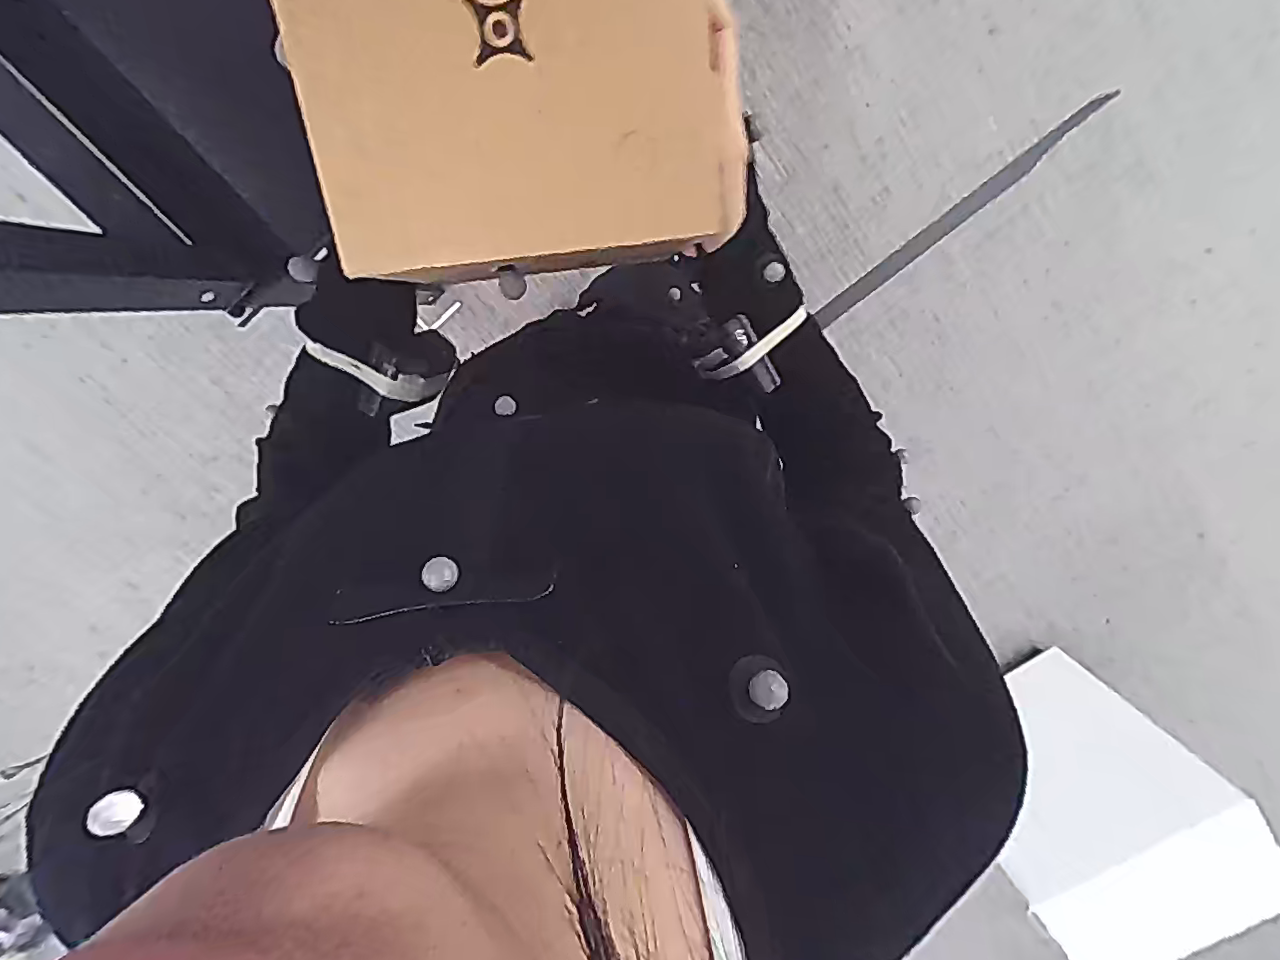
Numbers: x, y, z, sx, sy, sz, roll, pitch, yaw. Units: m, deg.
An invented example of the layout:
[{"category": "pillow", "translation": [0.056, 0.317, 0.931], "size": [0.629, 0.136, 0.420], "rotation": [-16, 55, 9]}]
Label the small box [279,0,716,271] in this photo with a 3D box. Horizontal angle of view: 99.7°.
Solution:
[{"category": "small box", "translation": [-0.058, -0.208, 0.282], "size": [0.168, 0.176, 0.179], "rotation": [-6, 108, -2]}]
